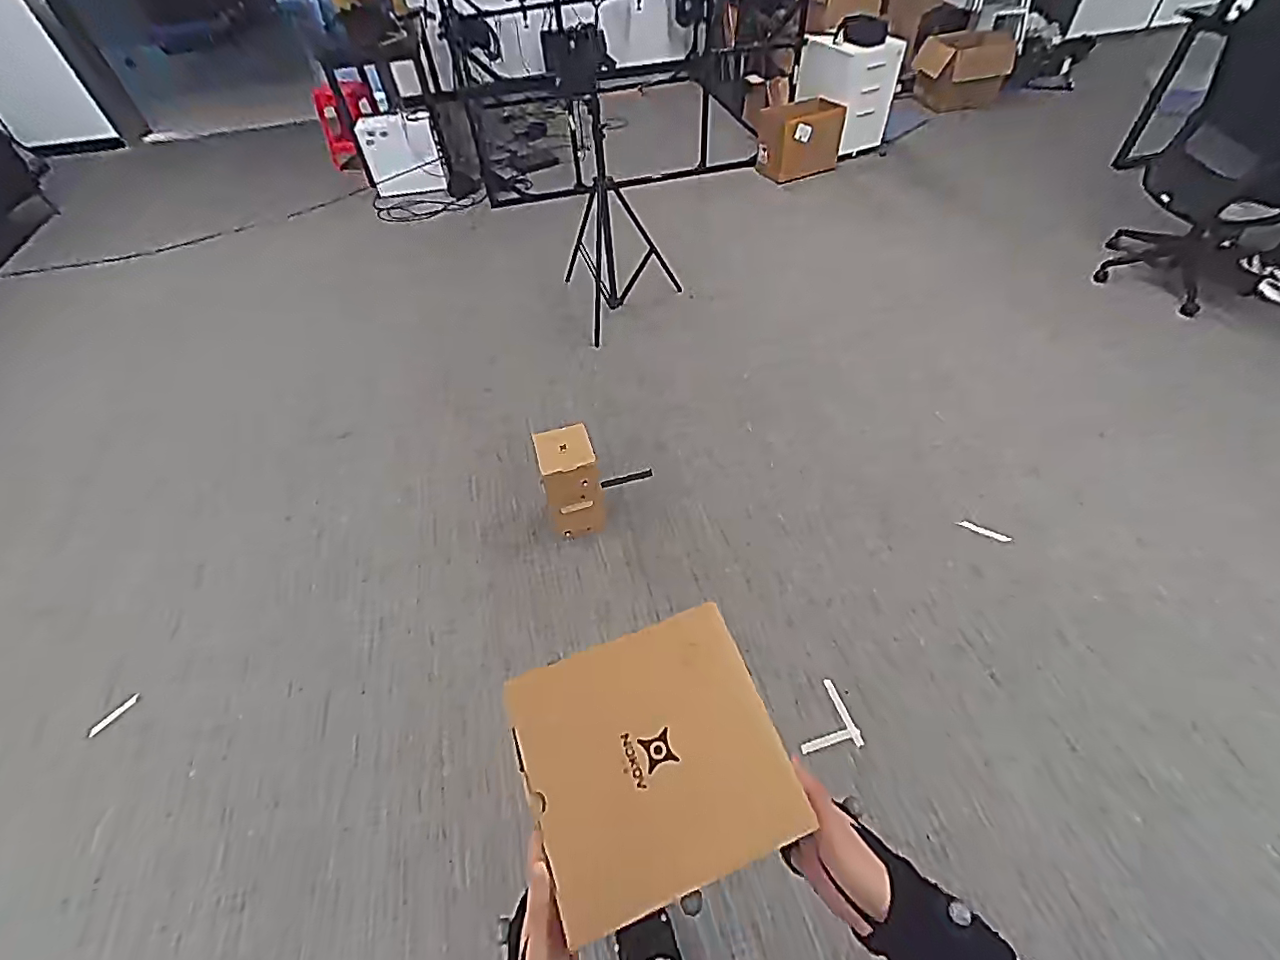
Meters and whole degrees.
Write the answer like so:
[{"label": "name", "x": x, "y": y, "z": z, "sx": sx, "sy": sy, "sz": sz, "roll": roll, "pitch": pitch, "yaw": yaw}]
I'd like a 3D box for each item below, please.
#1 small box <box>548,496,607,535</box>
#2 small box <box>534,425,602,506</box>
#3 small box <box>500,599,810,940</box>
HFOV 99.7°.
[{"label": "small box", "x": -0.213, "y": 0.065, "z": 1.799, "sx": 0.168, "sy": 0.176, "sz": 0.179, "roll": -15, "pitch": 50, "yaw": -8}, {"label": "small box", "x": -0.220, "y": -0.039, "z": 1.675, "sx": 0.168, "sy": 0.176, "sz": 0.179, "roll": -15, "pitch": 50, "yaw": -9}, {"label": "small box", "x": 0.005, "y": 0.223, "z": 0.448, "sx": 0.179, "sy": 0.176, "sz": 0.168, "roll": -20, "pitch": 64, "yaw": -10}]
